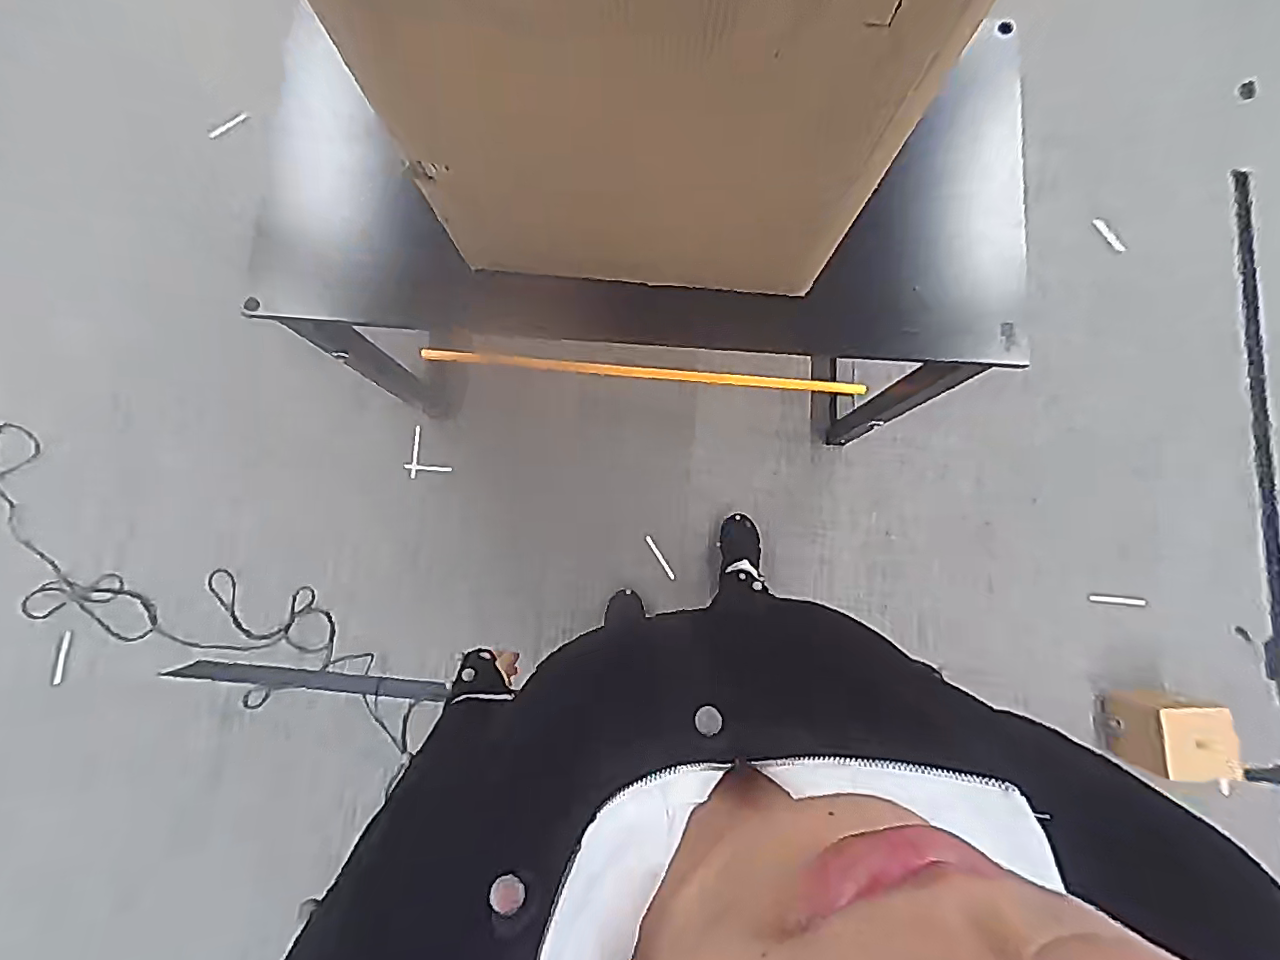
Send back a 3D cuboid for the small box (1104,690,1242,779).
[{"bbox_3d":[1.339,0.637,1.370,0.179,0.176,0.168,-2,82,1],"label":"small box"}]
